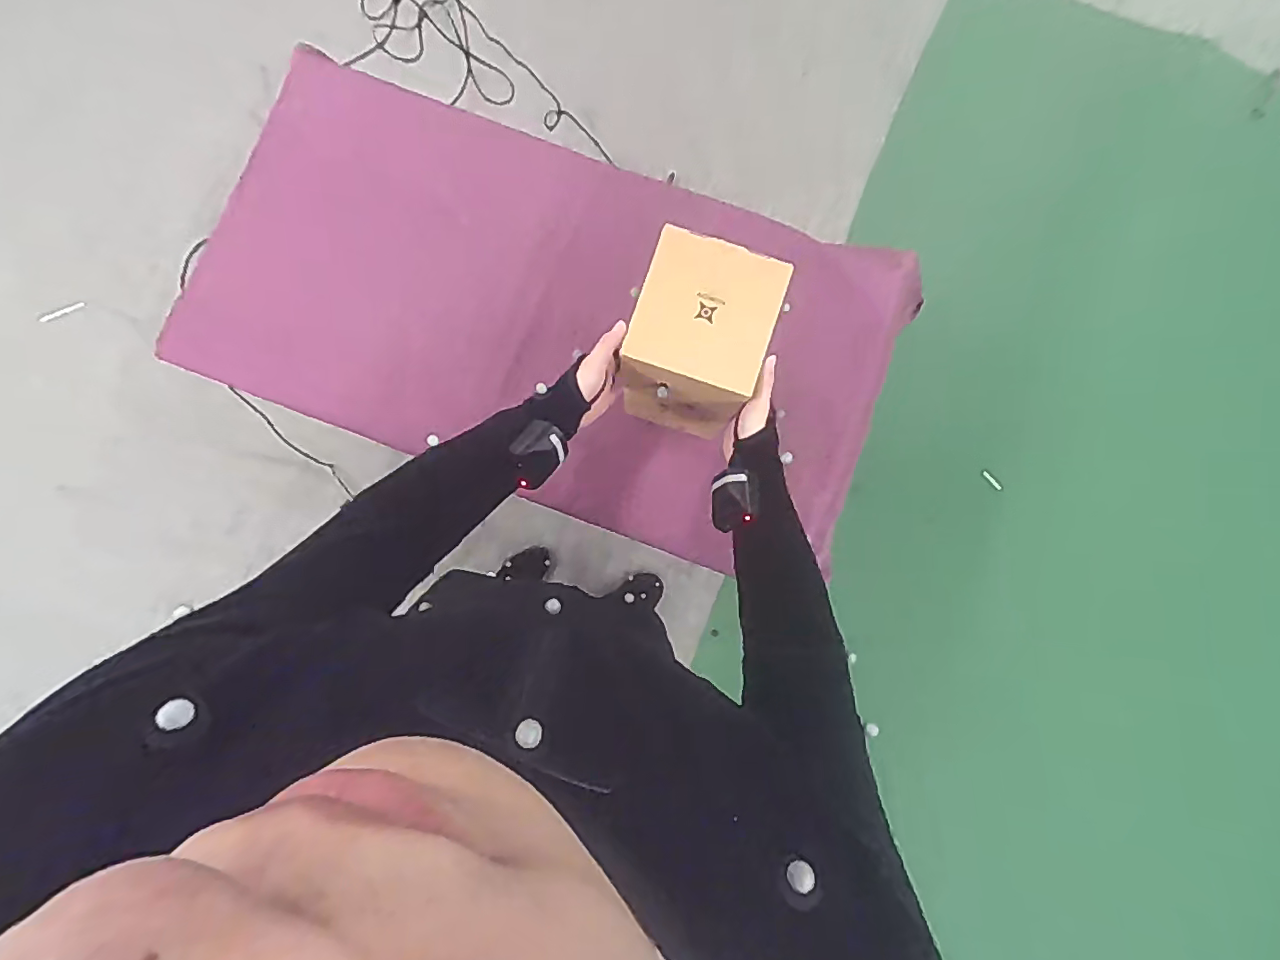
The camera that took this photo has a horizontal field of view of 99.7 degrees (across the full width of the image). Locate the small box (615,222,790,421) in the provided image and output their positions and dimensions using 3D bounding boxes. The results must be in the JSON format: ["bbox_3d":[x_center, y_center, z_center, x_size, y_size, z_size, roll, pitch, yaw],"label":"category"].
[{"bbox_3d":[0.074,-0.192,0.711,0.168,0.176,0.179,19,84,1],"label":"small box"}]

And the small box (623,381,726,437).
[{"bbox_3d":[0.072,-0.185,0.874,0.168,0.176,0.179,17,83,1],"label":"small box"}]
